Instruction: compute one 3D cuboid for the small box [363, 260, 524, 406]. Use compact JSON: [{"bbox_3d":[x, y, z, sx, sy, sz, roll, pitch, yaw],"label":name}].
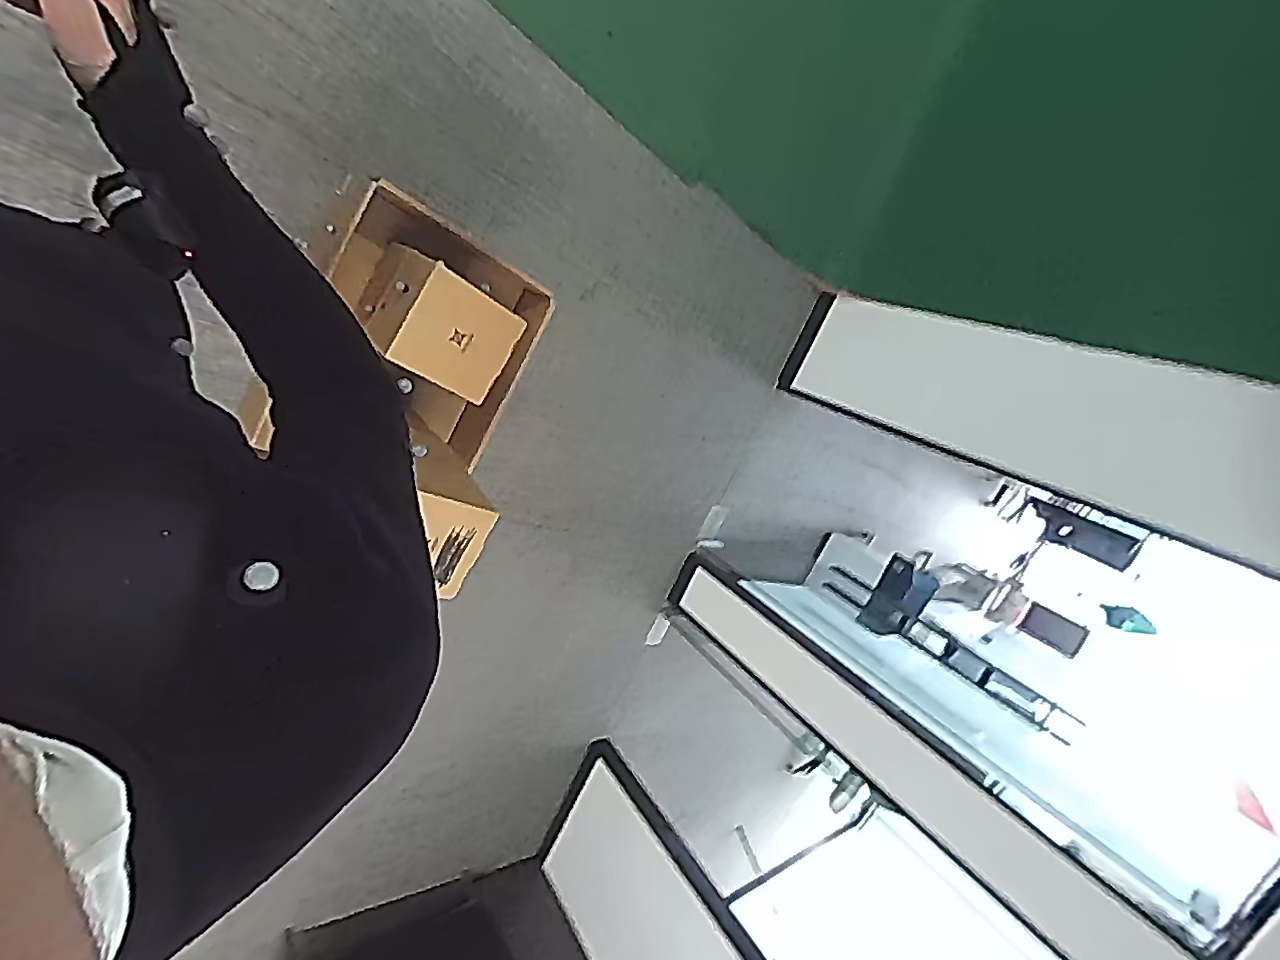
[{"bbox_3d":[-0.339,-0.254,0.922,0.179,0.176,0.168,27,96,-46],"label":"small box"}]
